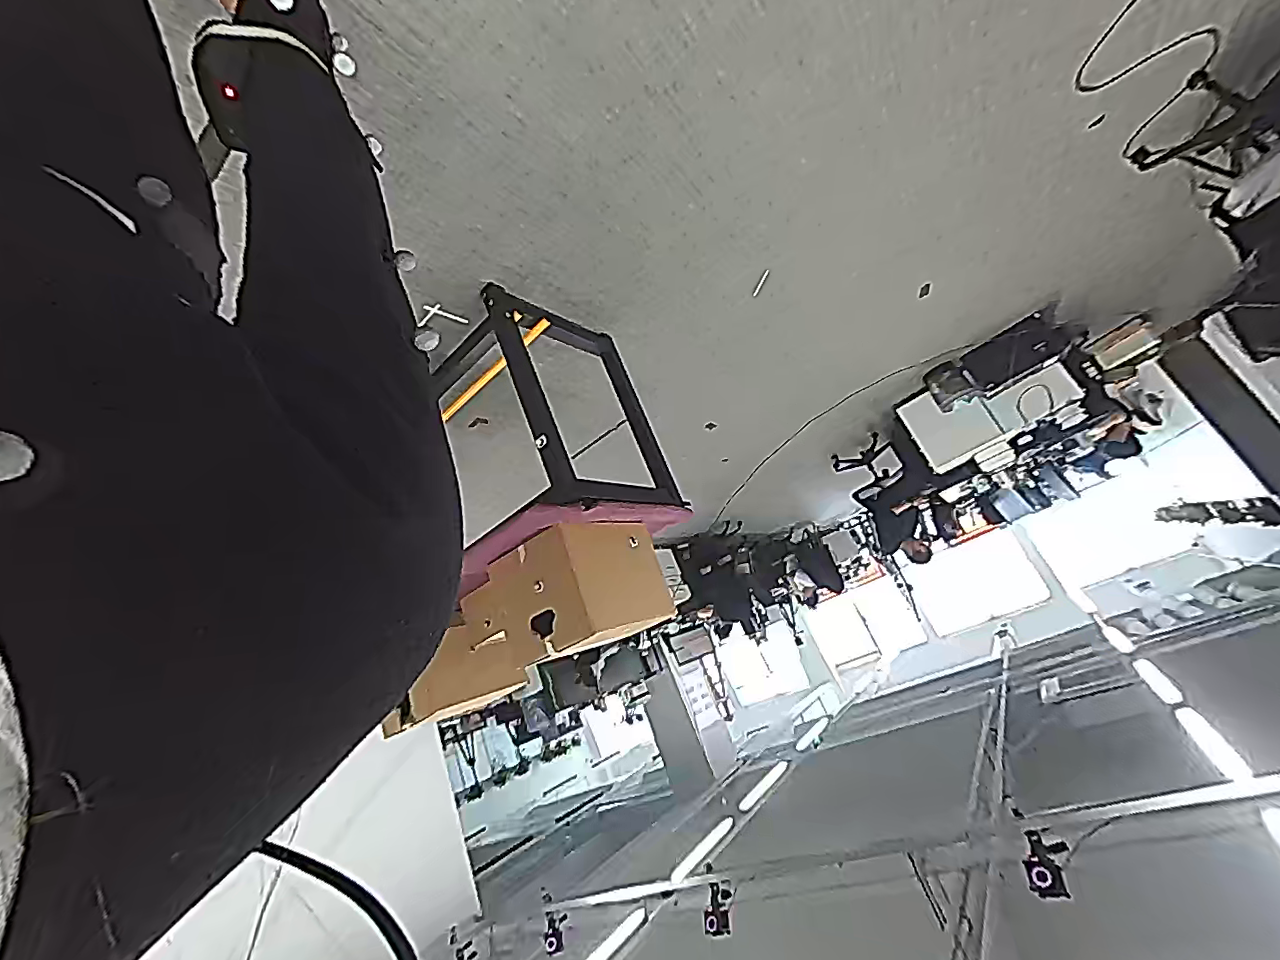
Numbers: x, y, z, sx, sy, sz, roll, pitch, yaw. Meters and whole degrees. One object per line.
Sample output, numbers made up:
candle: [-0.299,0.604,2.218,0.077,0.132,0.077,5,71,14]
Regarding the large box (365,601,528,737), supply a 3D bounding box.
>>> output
large box: [-0.686,0.654,1.924,0.320,0.320,0.408,-33,160,28]
